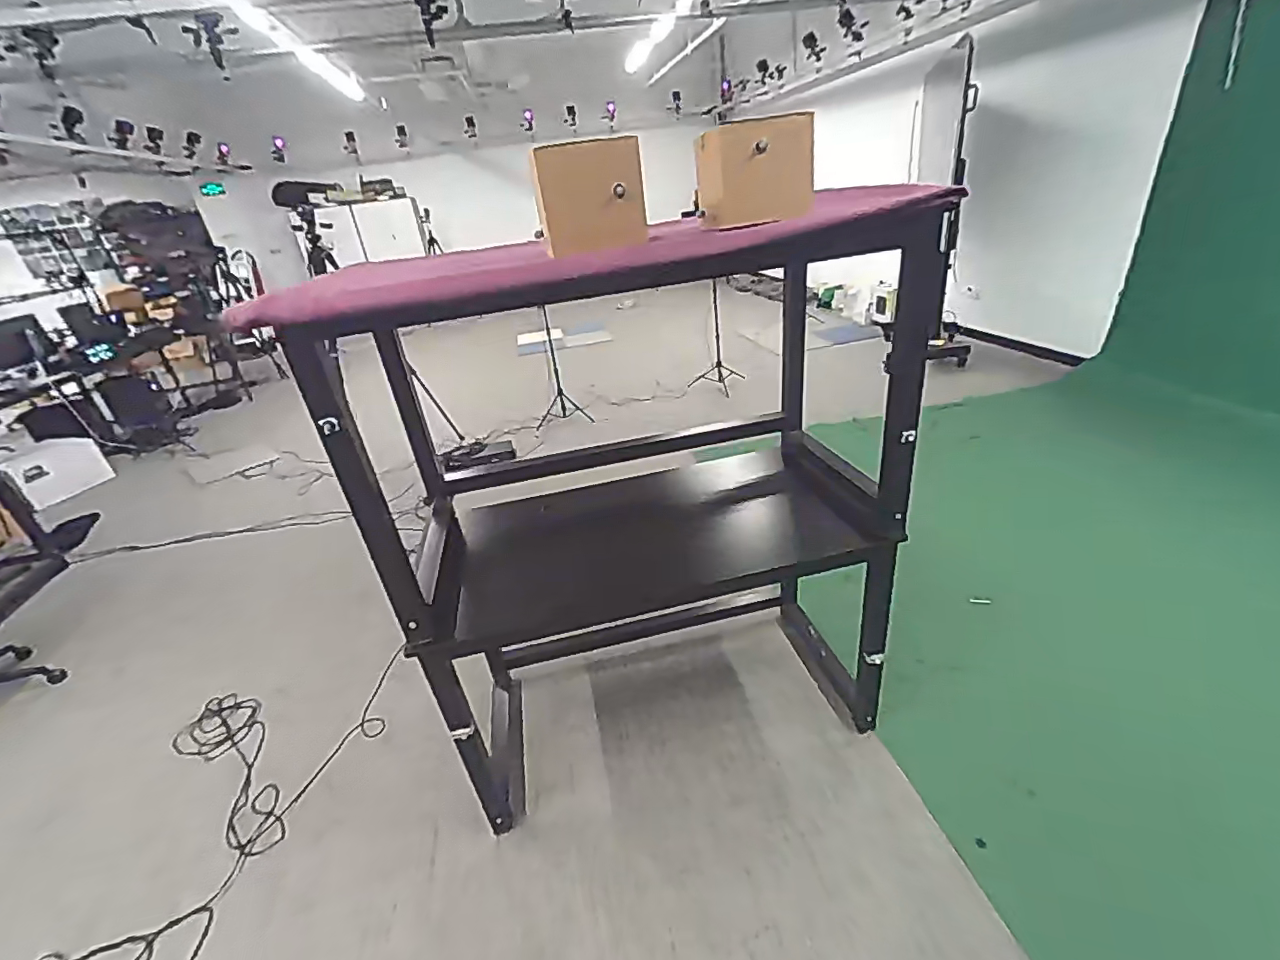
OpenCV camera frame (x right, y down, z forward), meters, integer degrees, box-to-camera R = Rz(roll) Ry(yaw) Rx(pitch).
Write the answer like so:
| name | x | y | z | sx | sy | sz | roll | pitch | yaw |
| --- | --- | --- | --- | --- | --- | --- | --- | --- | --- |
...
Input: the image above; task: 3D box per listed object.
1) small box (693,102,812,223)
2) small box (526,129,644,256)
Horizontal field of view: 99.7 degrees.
| name | x | y | z | sx | sy | sz | roll | pitch | yaw |
| --- | --- | --- | --- | --- | --- | --- | --- | --- | --- |
| small box | 0.212 | -0.587 | 1.020 | 0.179 | 0.176 | 0.168 | -11 | 27 | -6 |
| small box | -0.095 | -0.506 | 0.958 | 0.179 | 0.176 | 0.168 | -14 | 29 | -8 |
